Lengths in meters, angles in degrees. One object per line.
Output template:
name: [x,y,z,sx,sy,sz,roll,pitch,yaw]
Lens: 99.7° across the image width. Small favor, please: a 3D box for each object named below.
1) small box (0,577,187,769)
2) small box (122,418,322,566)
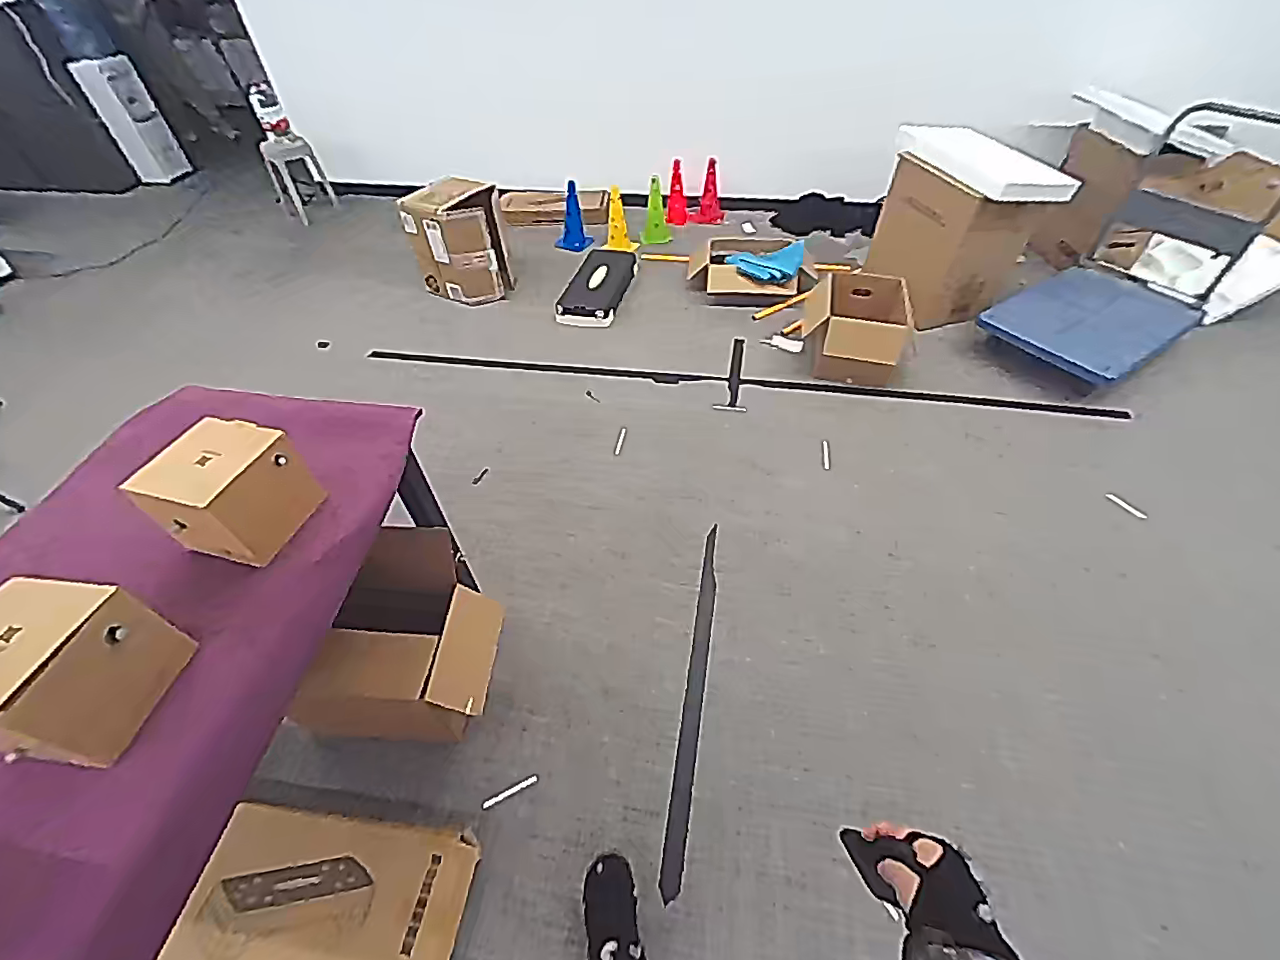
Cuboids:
small box: [-0.755,0.251,0.708,0.168,0.176,0.179,3,47,8]
small box: [-0.688,0.023,0.919,0.168,0.176,0.179,10,48,11]
